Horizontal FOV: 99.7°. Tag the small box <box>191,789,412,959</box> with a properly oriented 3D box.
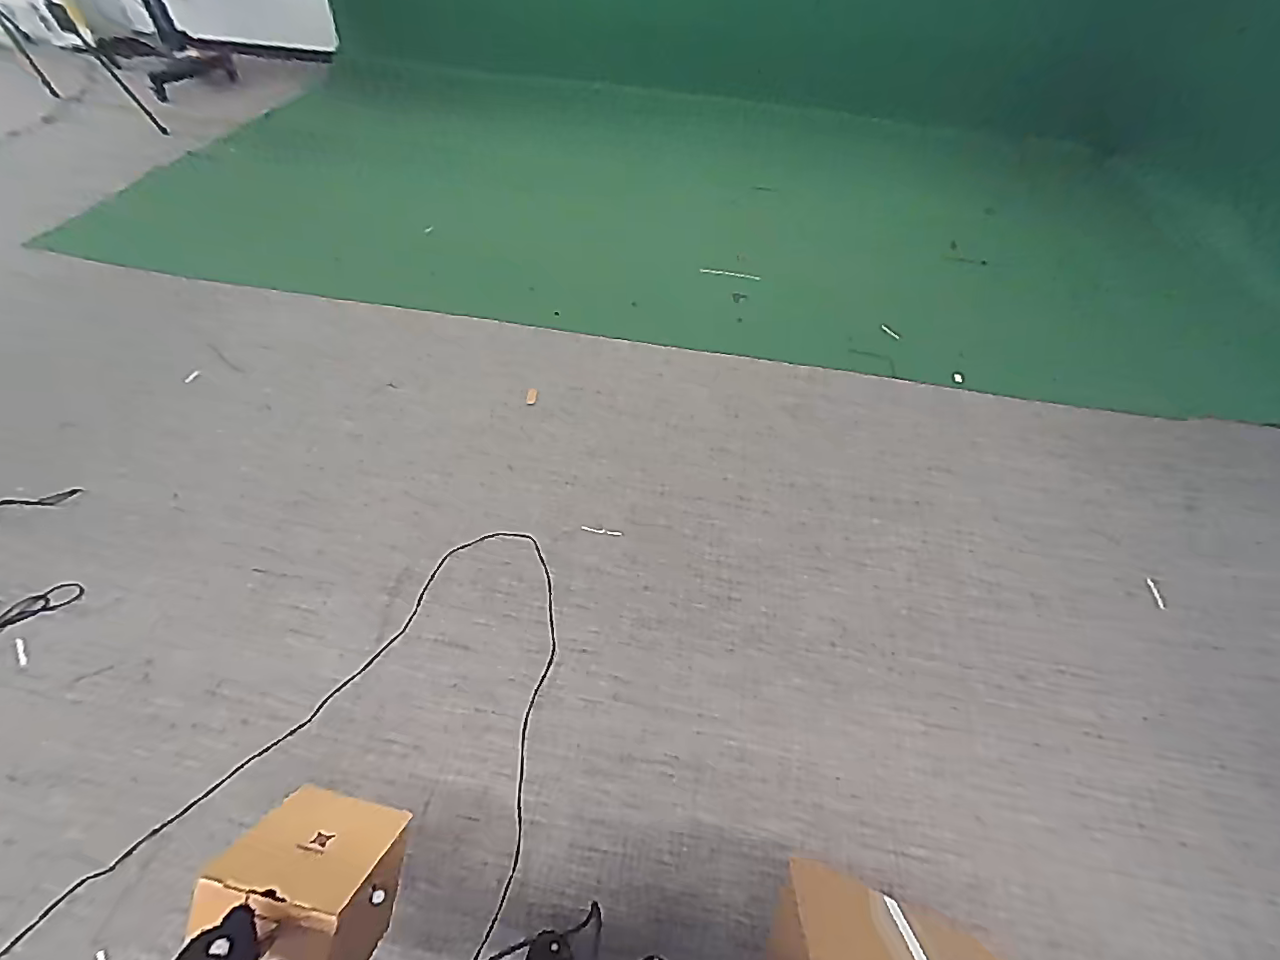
[{"bbox_3d":[-0.420,0.537,0.679,0.168,0.179,0.176,13,92,3],"label":"small box"}]
